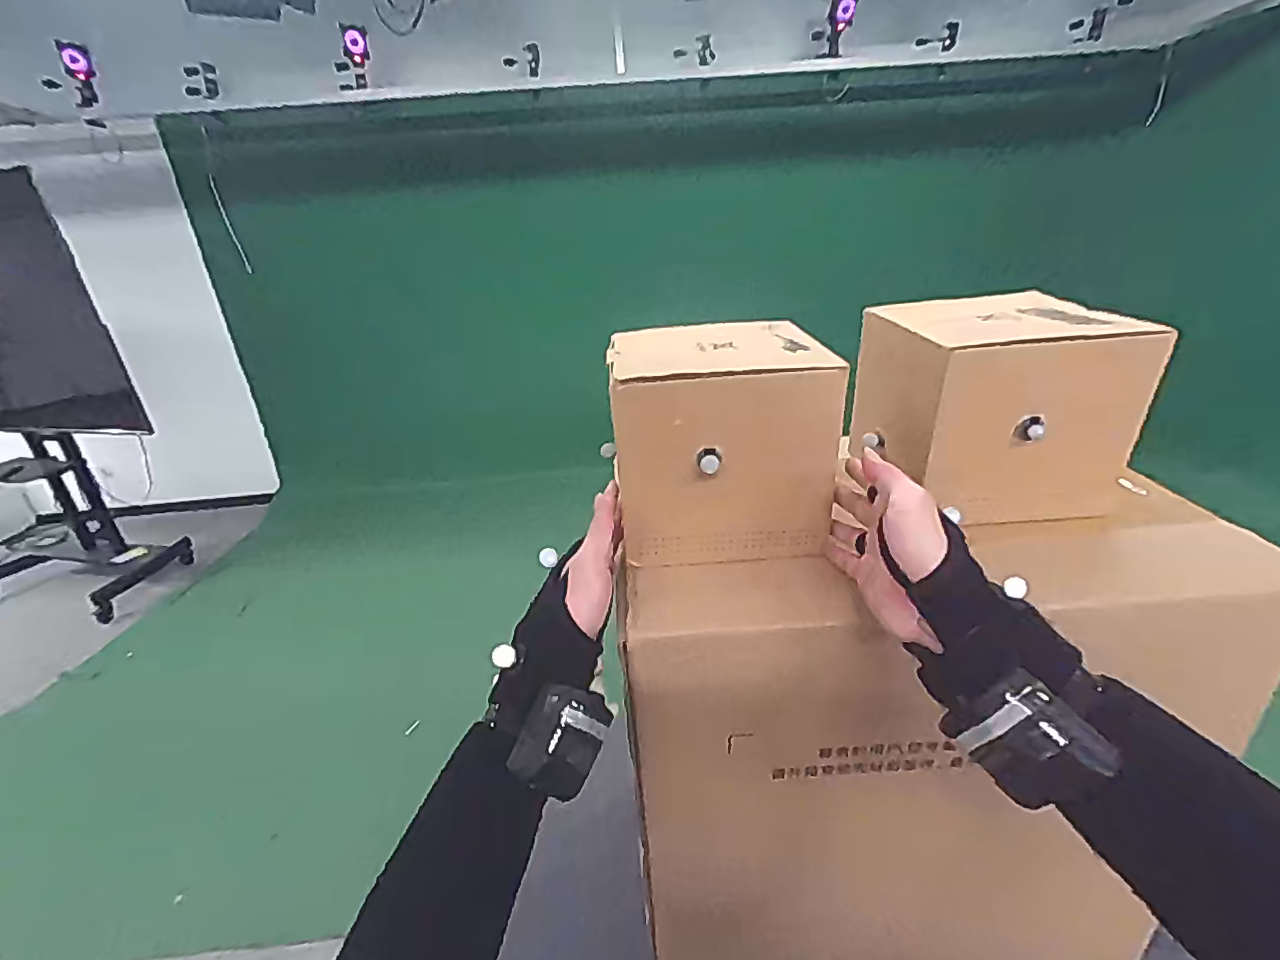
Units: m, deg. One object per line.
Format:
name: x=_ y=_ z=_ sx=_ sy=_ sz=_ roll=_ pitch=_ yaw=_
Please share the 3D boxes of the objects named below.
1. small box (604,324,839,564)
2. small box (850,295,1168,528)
small box: x=0.066 y=-0.037 z=0.499 sx=0.179 sy=0.176 sz=0.168 roll=-5 pitch=28 yaw=0
small box: x=0.321 y=-0.069 z=0.518 sx=0.179 sy=0.176 sz=0.168 roll=-5 pitch=28 yaw=2
